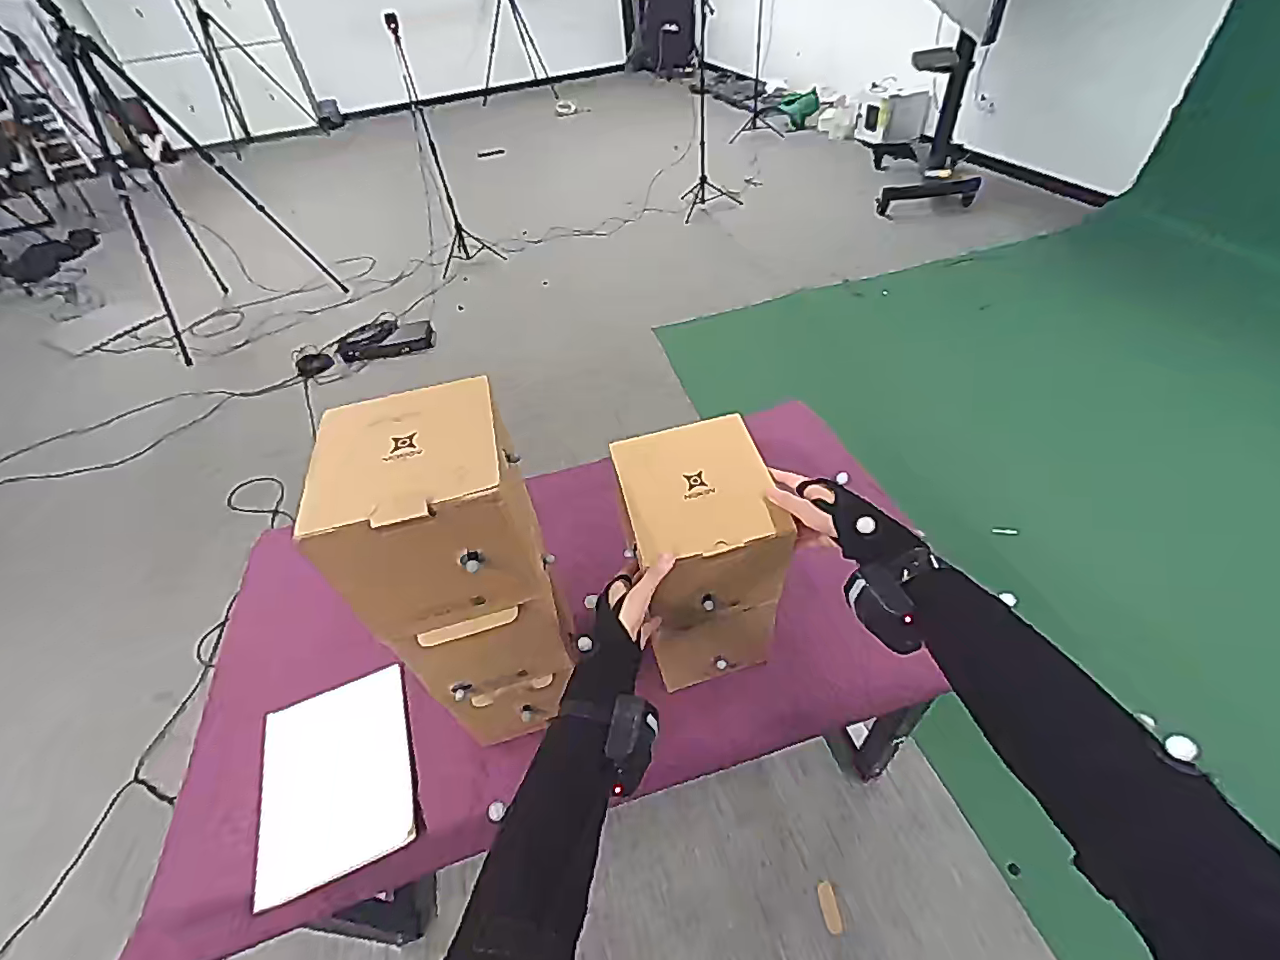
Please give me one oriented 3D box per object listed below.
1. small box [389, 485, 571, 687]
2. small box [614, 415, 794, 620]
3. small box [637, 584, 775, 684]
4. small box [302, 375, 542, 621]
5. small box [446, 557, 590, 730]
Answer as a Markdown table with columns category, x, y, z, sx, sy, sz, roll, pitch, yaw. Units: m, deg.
| category | x | y | z | sx | sy | sz | roll | pitch | yaw |
| --- | --- | --- | --- | --- | --- | --- | --- | --- | --- |
| small box | -0.190 | 0.134 | 0.671 | 0.168 | 0.176 | 0.179 | -15 | 45 | -7 |
| small box | 0.066 | 0.050 | 0.672 | 0.168 | 0.176 | 0.179 | -12 | 57 | -6 |
| small box | 0.088 | 0.176 | 0.822 | 0.168 | 0.176 | 0.179 | -16 | 45 | -6 |
| small box | -0.204 | 0.024 | 0.552 | 0.168 | 0.176 | 0.179 | -14 | 45 | -7 |
| small box | -0.176 | 0.244 | 0.793 | 0.168 | 0.176 | 0.179 | -15 | 47 | -7 |
